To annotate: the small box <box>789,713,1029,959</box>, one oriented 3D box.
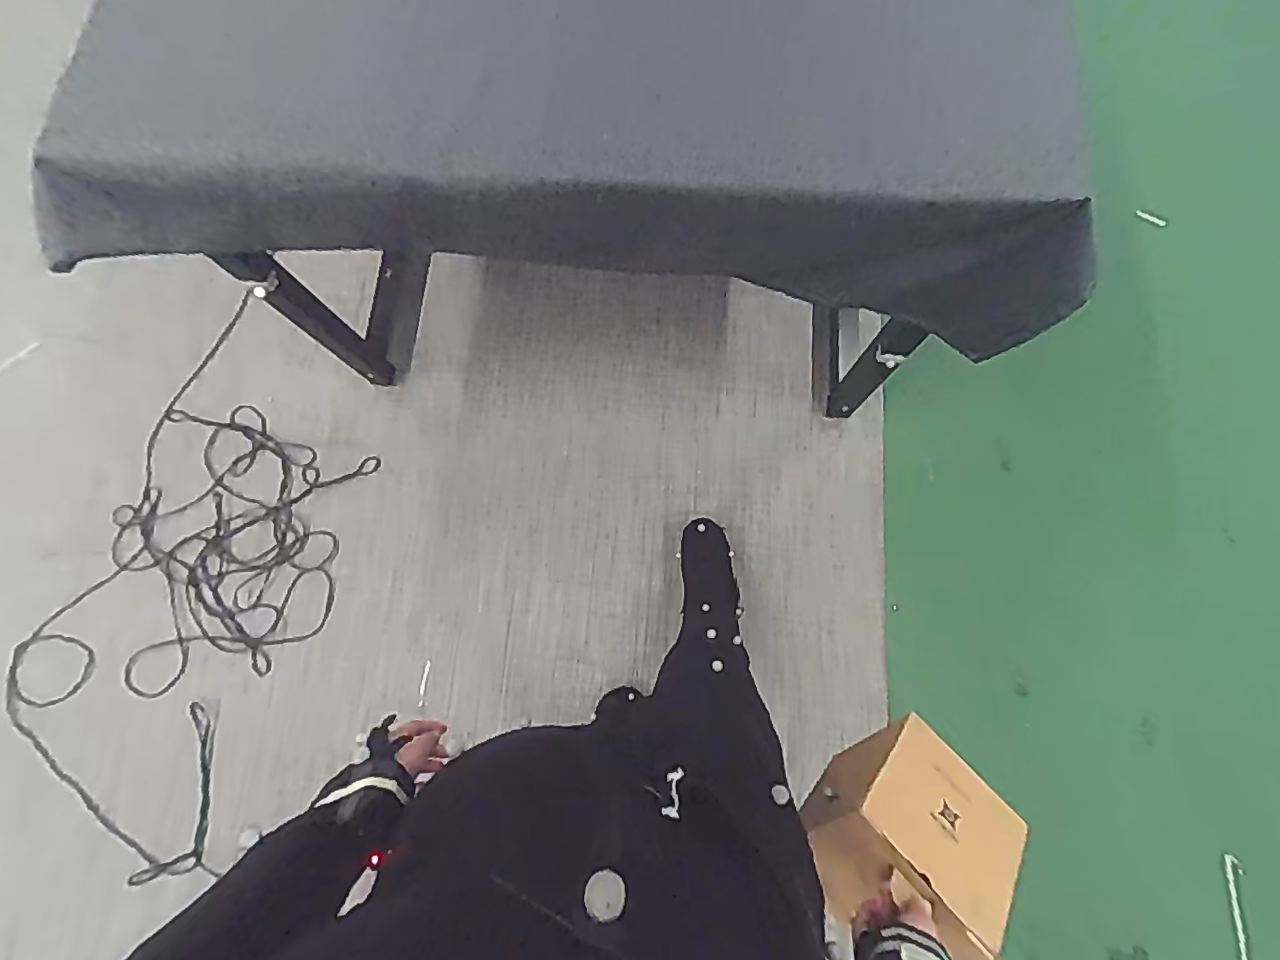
[{"bbox_3d":[0.304,0.420,0.634,0.179,0.176,0.168,-23,62,-45],"label":"small box"}]
